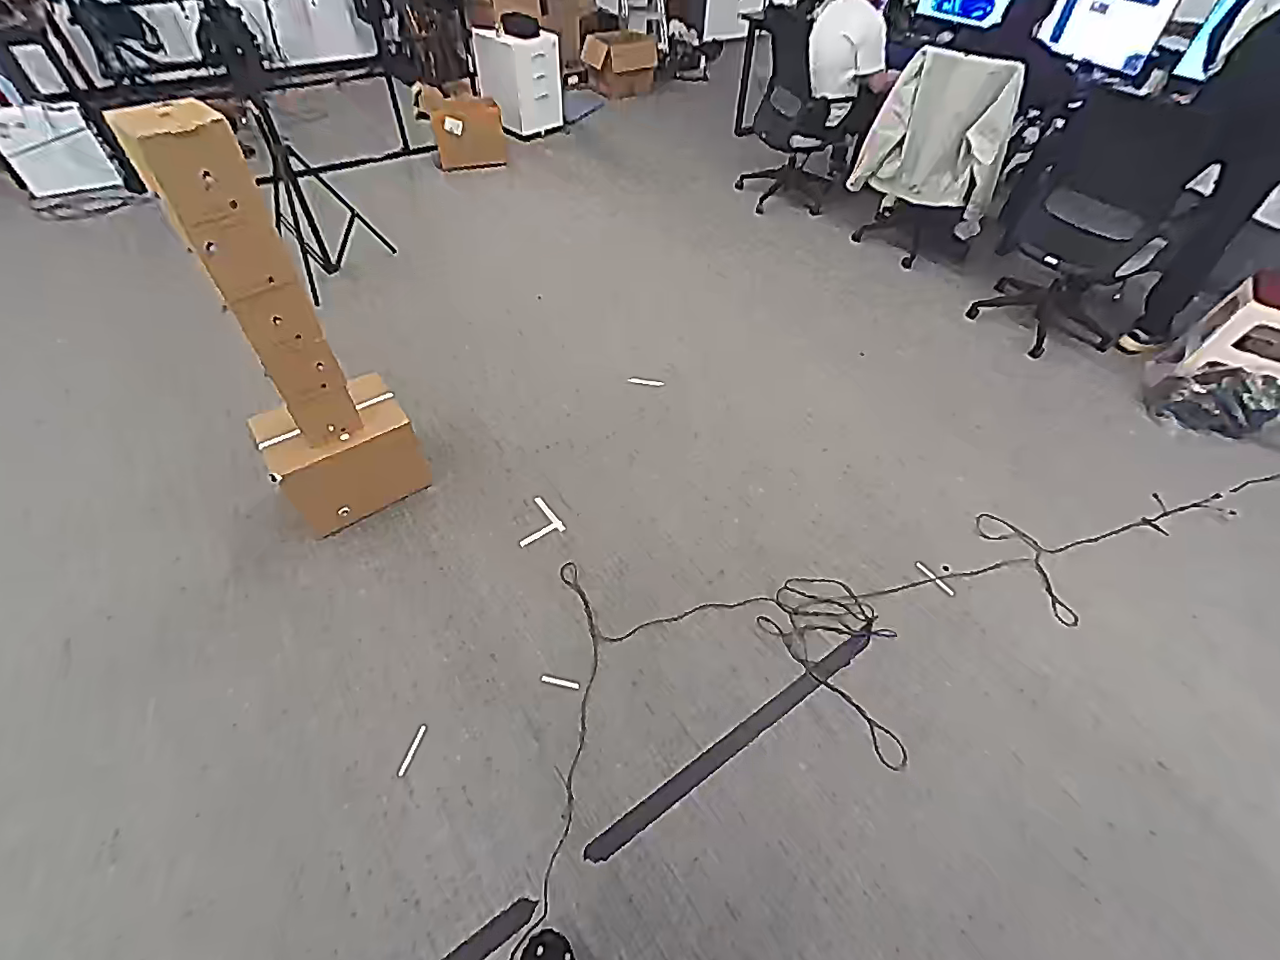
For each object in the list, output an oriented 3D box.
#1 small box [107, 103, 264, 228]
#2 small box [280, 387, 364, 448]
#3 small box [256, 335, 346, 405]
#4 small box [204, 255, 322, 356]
[{"bbox_3d":[-0.931,-0.648,1.124,0.179,0.176,0.168,37,56,23],"label":"small box"},{"bbox_3d":[-0.963,-0.227,1.624,0.168,0.176,0.179,-30,58,-25],"label":"small box"},{"bbox_3d":[-0.950,-0.330,1.500,0.168,0.176,0.179,-31,57,-27],"label":"small box"},{"bbox_3d":[-0.948,-0.437,1.375,0.168,0.176,0.179,-35,60,-29],"label":"small box"}]
